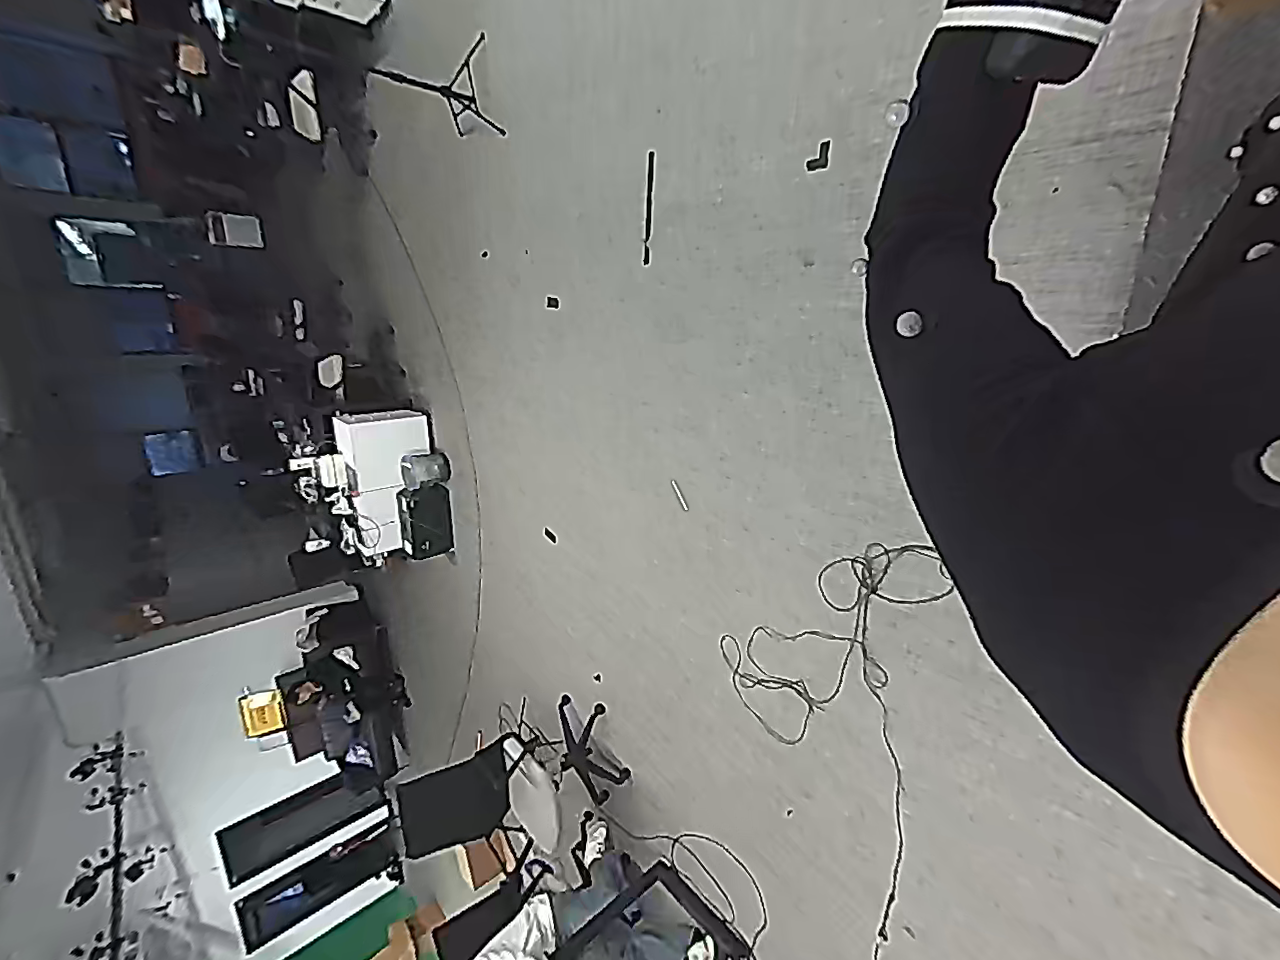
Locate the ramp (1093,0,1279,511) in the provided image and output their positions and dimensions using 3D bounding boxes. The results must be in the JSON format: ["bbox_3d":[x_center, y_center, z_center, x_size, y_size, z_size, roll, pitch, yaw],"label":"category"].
[{"bbox_3d":[1.140,-0.402,0.869,0.509,0.206,0.991,16,113,45],"label":"ramp"}]
